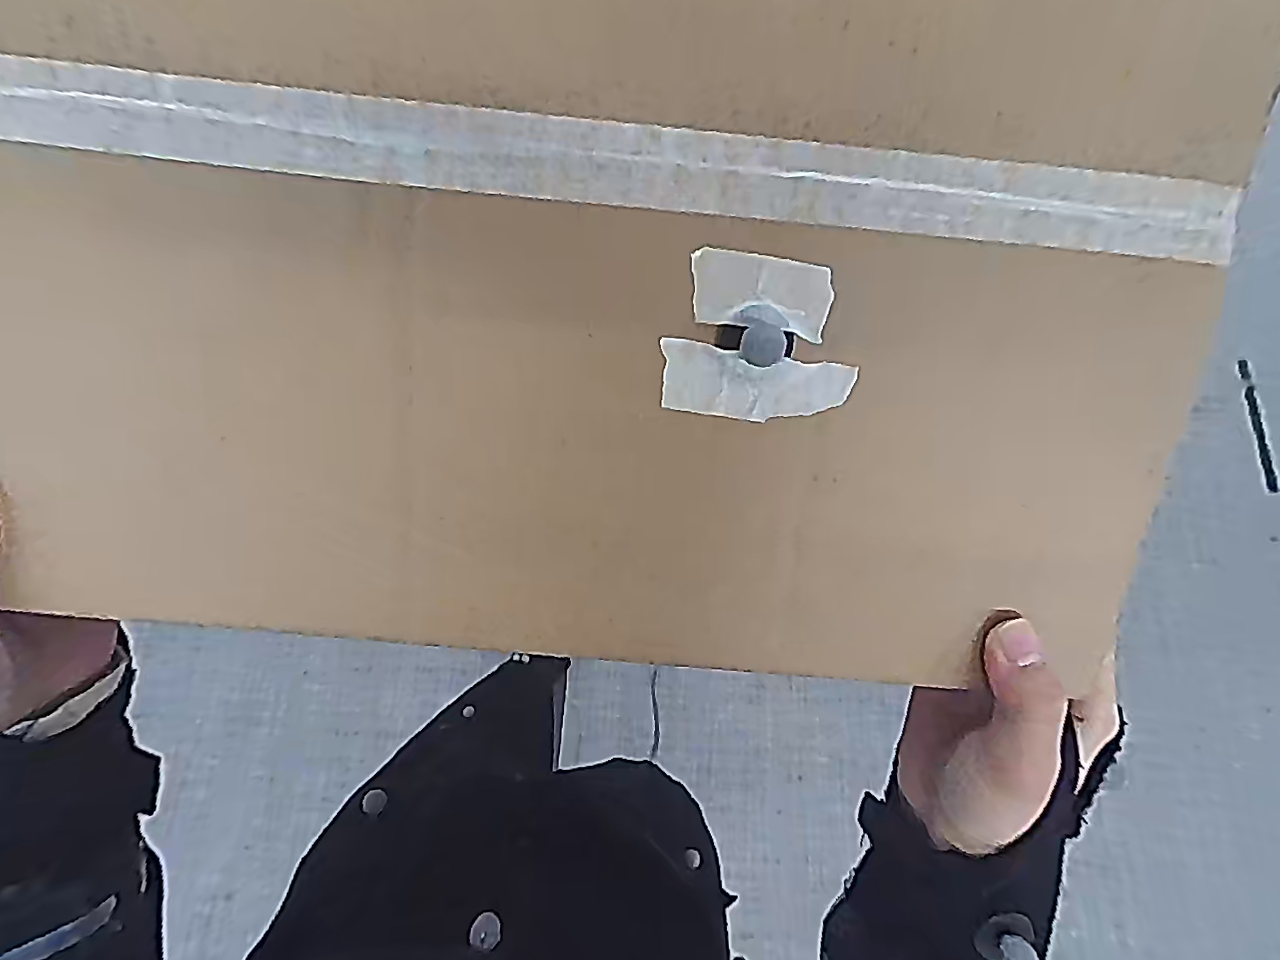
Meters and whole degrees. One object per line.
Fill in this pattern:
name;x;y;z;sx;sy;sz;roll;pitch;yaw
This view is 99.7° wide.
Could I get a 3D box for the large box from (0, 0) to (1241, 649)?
large box;-0.029;-0.126;0.316;0.408;0.320;0.320;5;102;-3
